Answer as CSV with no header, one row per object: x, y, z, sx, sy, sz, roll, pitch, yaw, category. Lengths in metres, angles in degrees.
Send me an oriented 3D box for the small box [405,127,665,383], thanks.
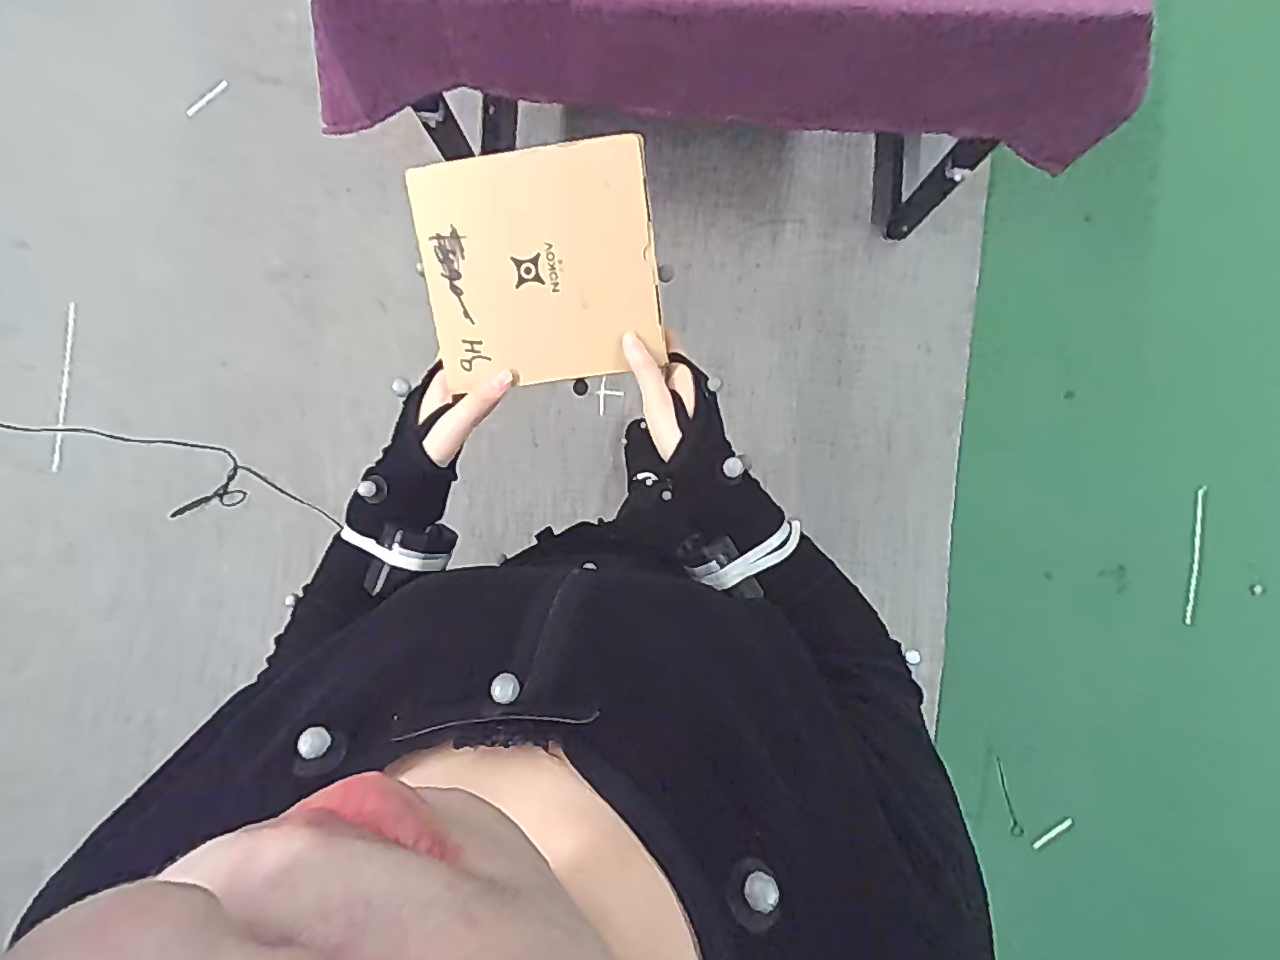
-0.075,-0.180,0.482,0.179,0.176,0.168,-7,101,2,small box
